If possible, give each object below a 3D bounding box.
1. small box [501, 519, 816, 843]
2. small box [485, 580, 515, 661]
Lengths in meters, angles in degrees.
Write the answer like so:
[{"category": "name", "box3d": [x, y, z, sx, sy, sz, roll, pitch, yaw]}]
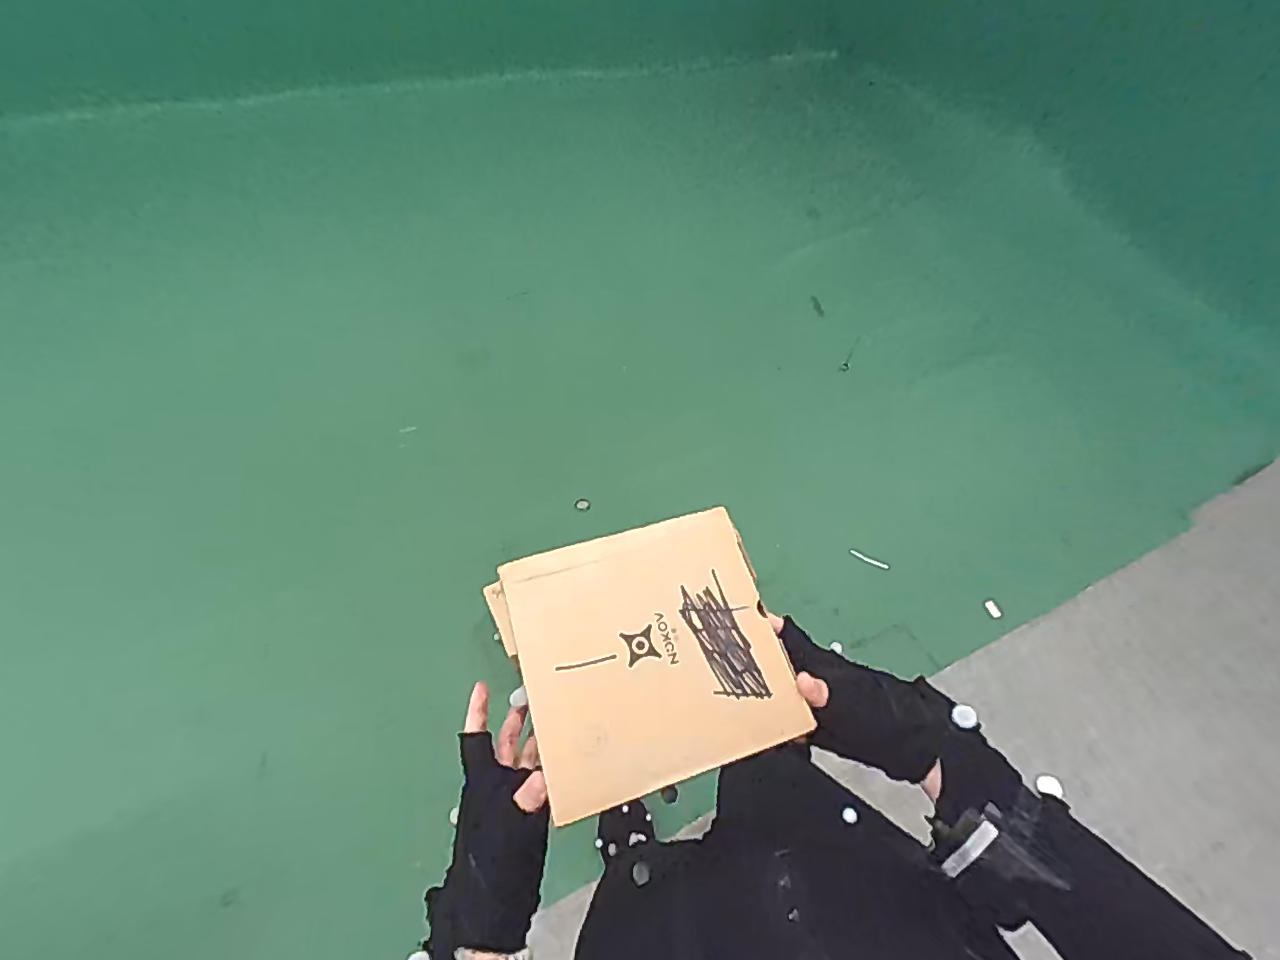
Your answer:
[{"category": "small box", "box3d": [0.000, 0.152, 0.426, 0.179, 0.176, 0.168, -14, 65, -13]}, {"category": "small box", "box3d": [-0.260, 0.327, 1.313, 0.168, 0.176, 0.179, -21, 67, -18]}]
